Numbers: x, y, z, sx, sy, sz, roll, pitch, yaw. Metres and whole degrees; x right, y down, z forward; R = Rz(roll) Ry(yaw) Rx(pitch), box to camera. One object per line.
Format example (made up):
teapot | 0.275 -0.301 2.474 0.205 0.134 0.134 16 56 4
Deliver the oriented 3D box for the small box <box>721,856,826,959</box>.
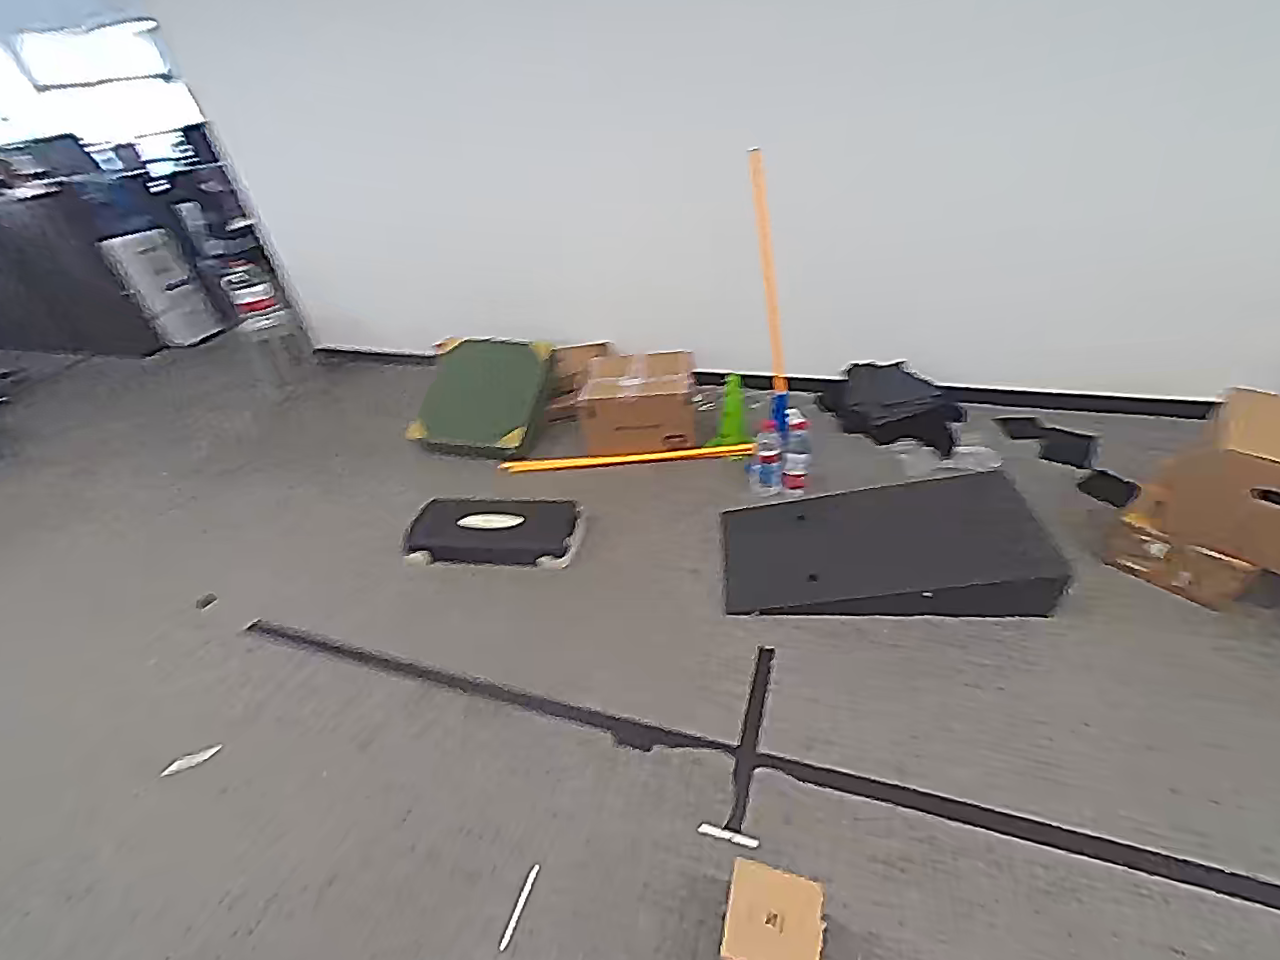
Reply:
small box | 0.261 0.885 1.064 0.179 0.176 0.168 7 40 18
